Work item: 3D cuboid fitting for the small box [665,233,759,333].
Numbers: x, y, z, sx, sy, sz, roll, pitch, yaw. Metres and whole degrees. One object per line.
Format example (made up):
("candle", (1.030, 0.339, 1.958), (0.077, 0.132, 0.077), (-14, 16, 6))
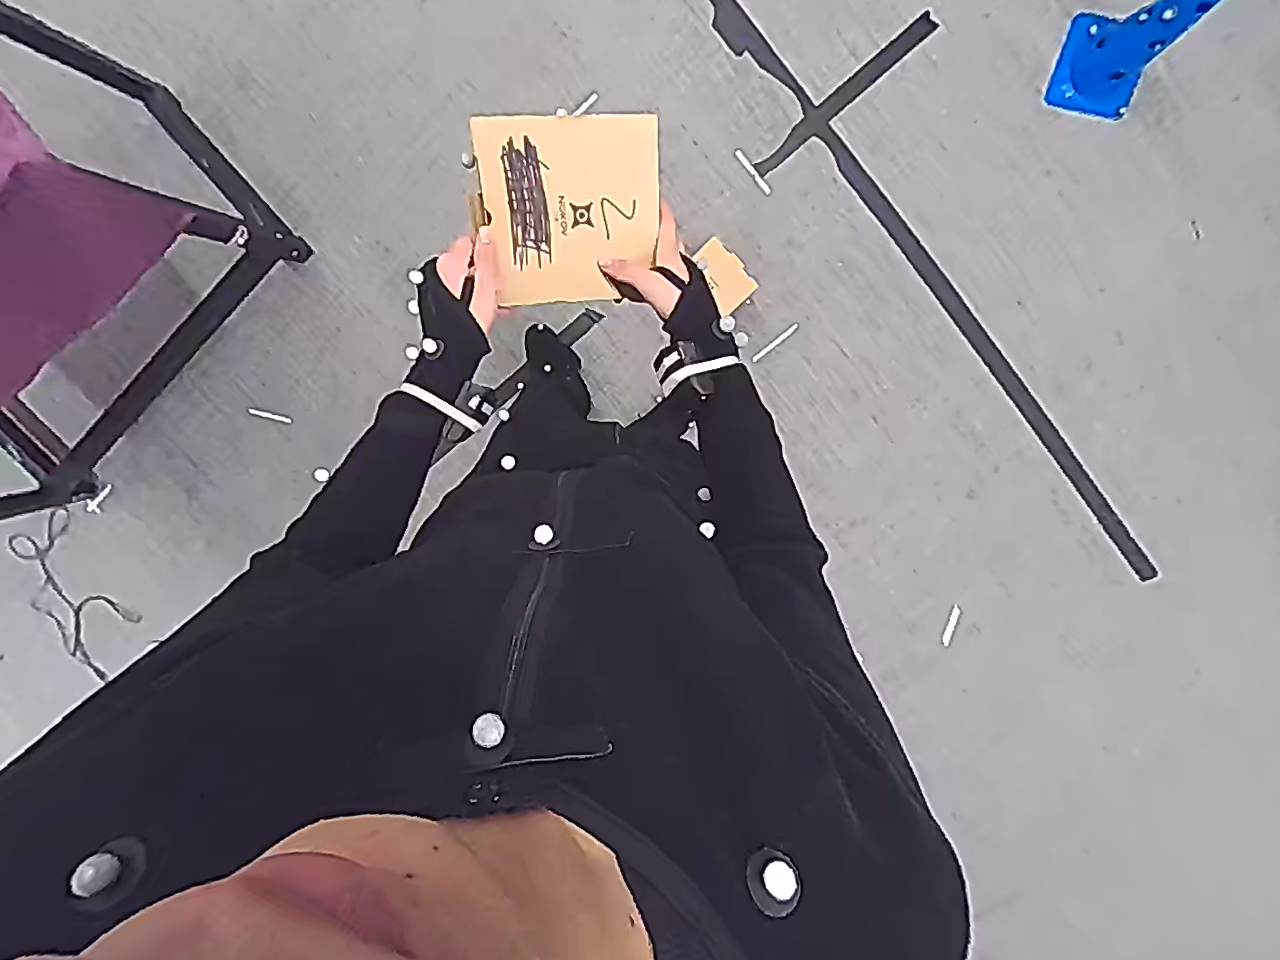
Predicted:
("small box", (0.186, -0.502, 1.410), (0.179, 0.176, 0.168), (-42, 96, 12))
